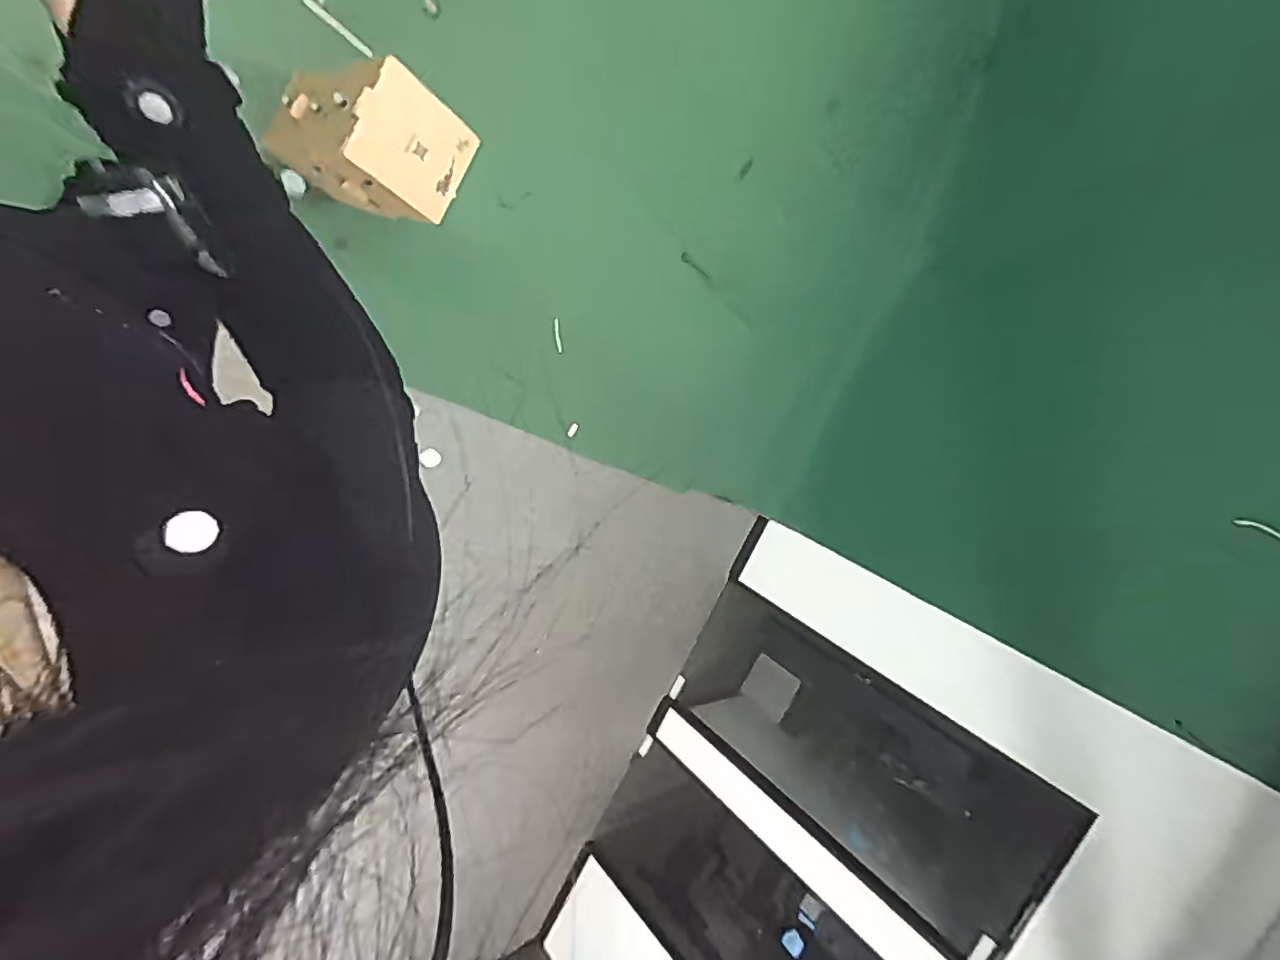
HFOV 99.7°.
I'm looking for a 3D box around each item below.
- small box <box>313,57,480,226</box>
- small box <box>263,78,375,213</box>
[{"bbox_3d":[-0.415,-0.561,0.915,0.179,0.176,0.168,25,94,-52],"label":"small box"},{"bbox_3d":[-0.635,-0.691,1.120,0.179,0.176,0.168,27,94,-53],"label":"small box"}]
